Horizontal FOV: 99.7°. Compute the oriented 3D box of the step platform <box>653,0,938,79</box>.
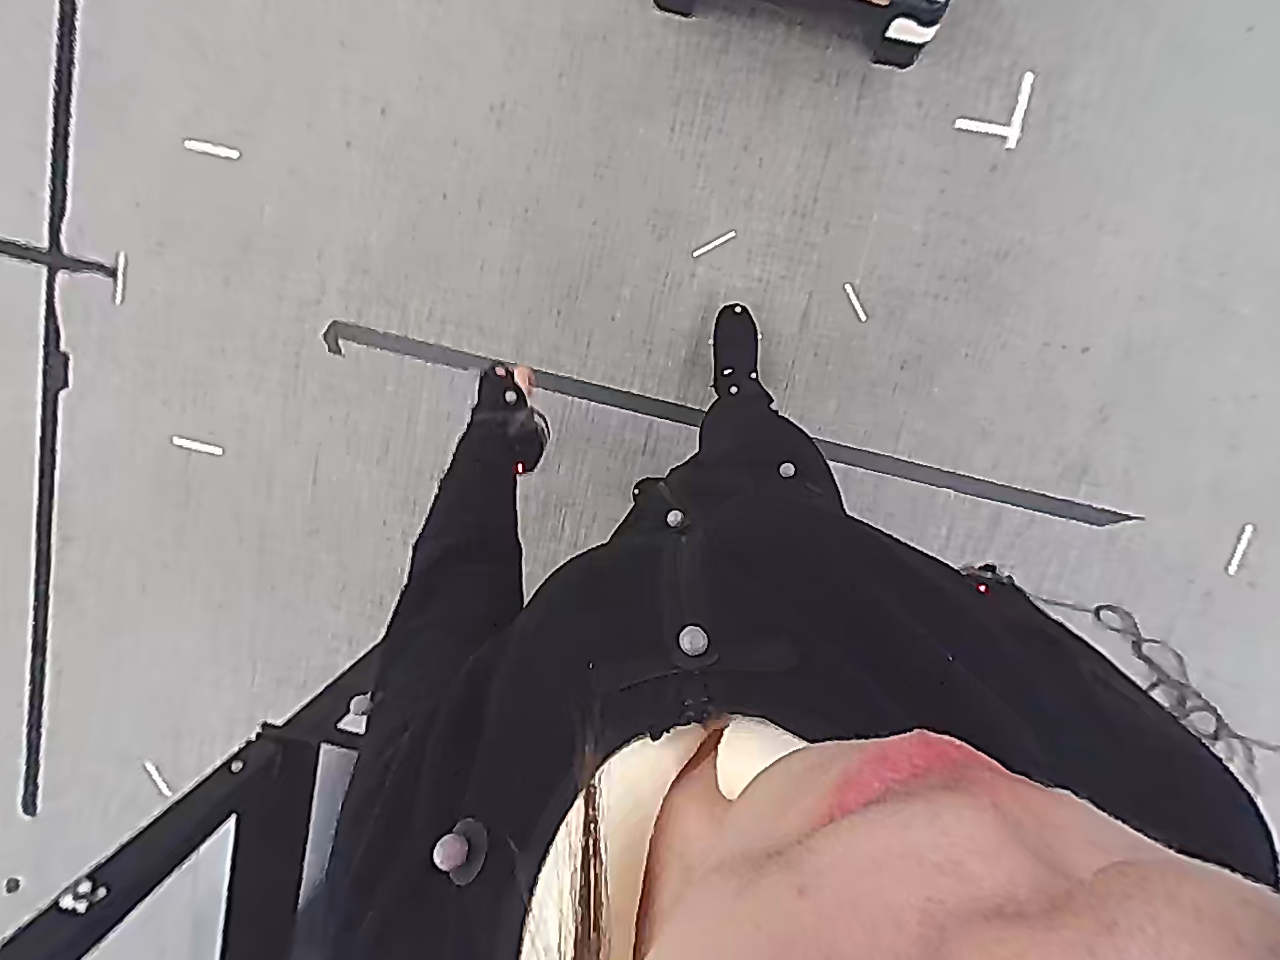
[{"bbox_3d":[0.349,-1.198,1.215,0.684,0.204,0.286,19,98,1],"label":"step platform"}]
